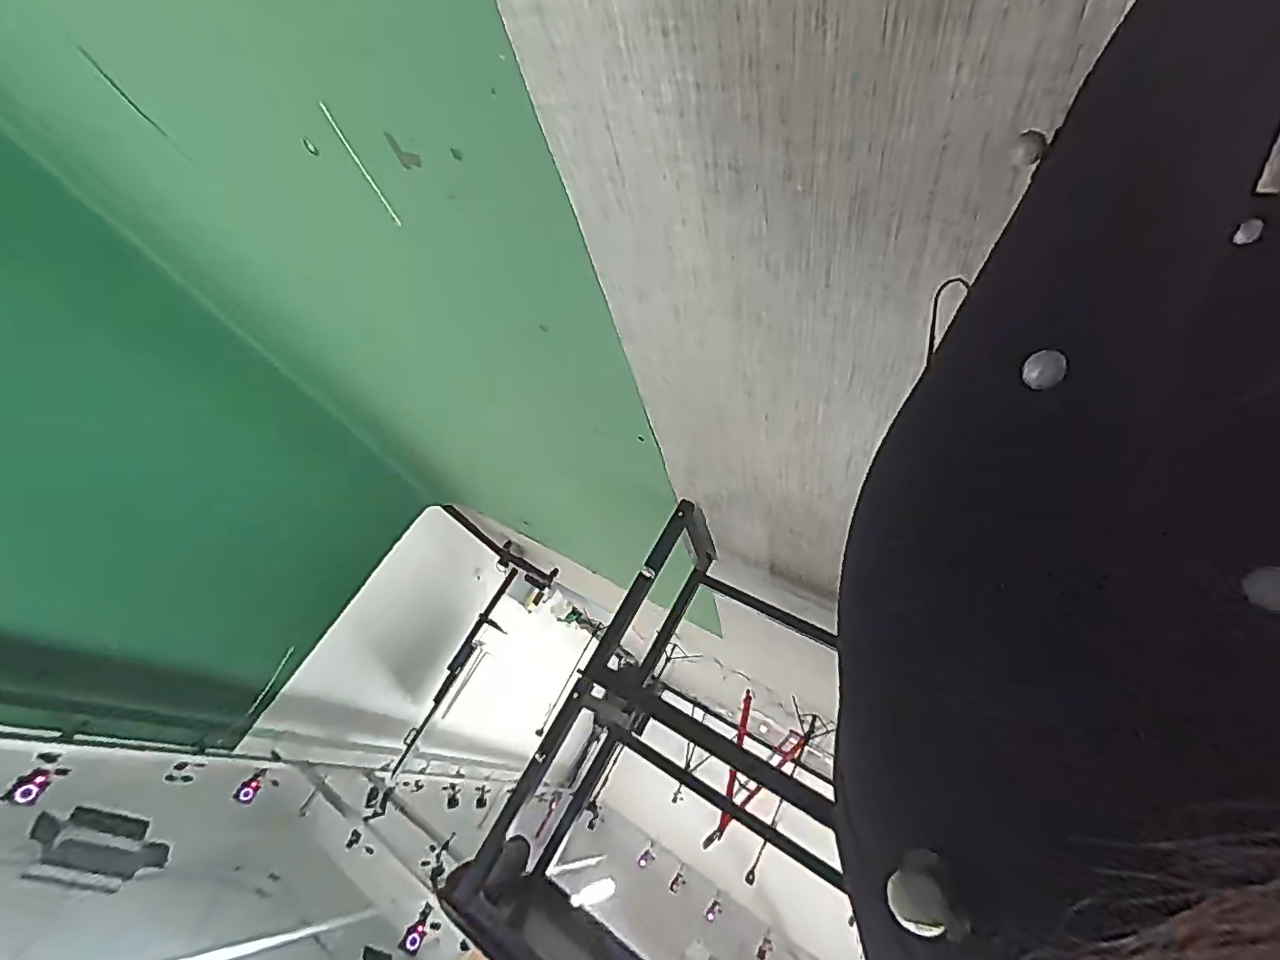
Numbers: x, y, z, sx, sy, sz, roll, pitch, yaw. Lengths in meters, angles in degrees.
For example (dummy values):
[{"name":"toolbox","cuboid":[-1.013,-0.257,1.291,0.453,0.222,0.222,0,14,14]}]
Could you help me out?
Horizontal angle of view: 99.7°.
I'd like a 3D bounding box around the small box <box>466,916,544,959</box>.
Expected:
[{"name":"small box","cuboid":[-0.412,1.438,1.598,0.168,0.176,0.179,23,157,22]}]
